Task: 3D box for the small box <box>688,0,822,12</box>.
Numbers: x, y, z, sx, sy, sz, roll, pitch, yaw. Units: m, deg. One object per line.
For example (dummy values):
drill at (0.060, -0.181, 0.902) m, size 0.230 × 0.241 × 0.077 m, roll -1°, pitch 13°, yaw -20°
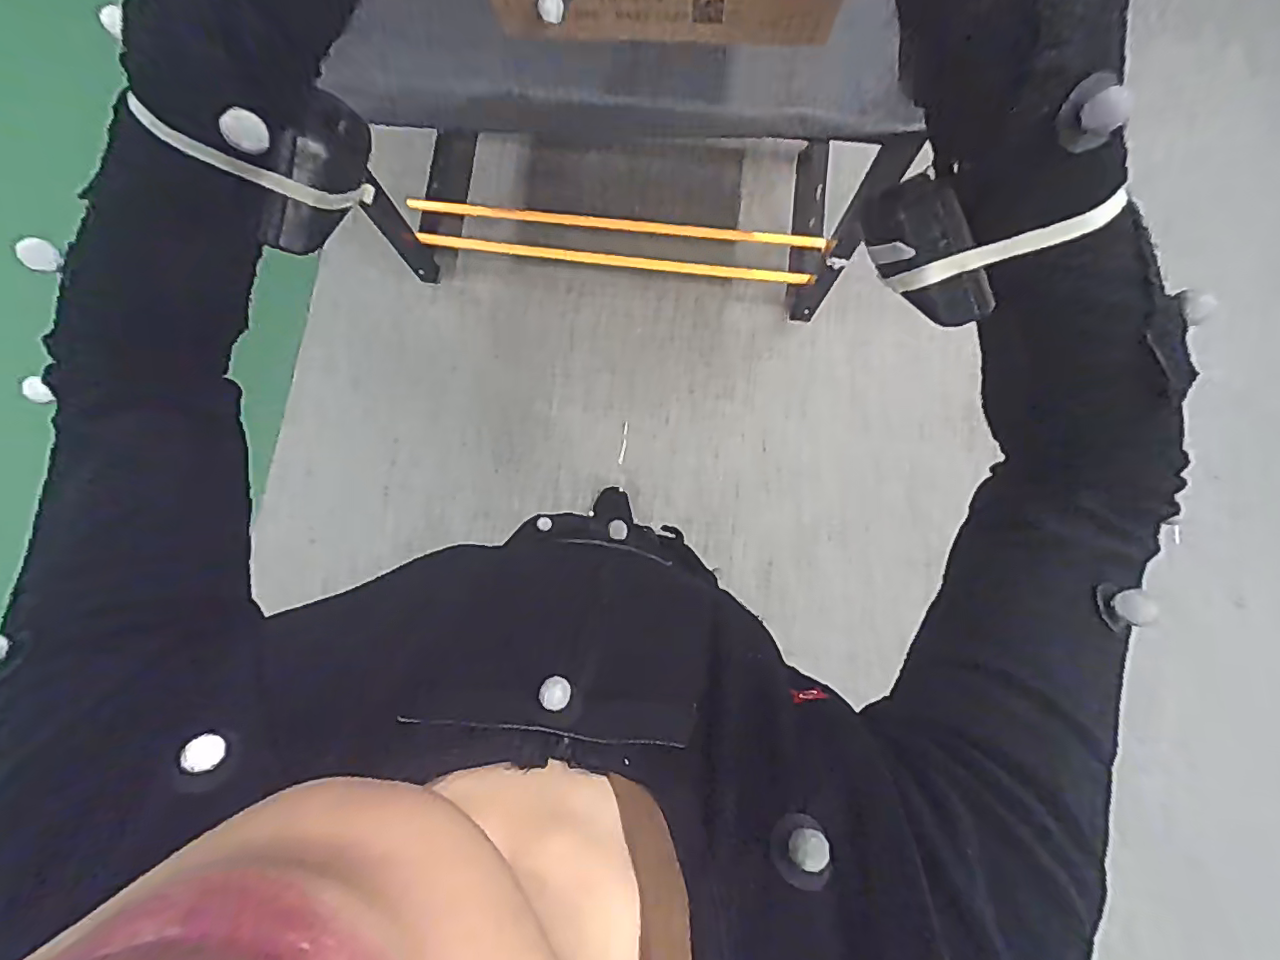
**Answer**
small box at (0.016, -0.315, 0.188) m, size 0.168 × 0.176 × 0.179 m, roll 4°, pitch 92°, yaw 2°
